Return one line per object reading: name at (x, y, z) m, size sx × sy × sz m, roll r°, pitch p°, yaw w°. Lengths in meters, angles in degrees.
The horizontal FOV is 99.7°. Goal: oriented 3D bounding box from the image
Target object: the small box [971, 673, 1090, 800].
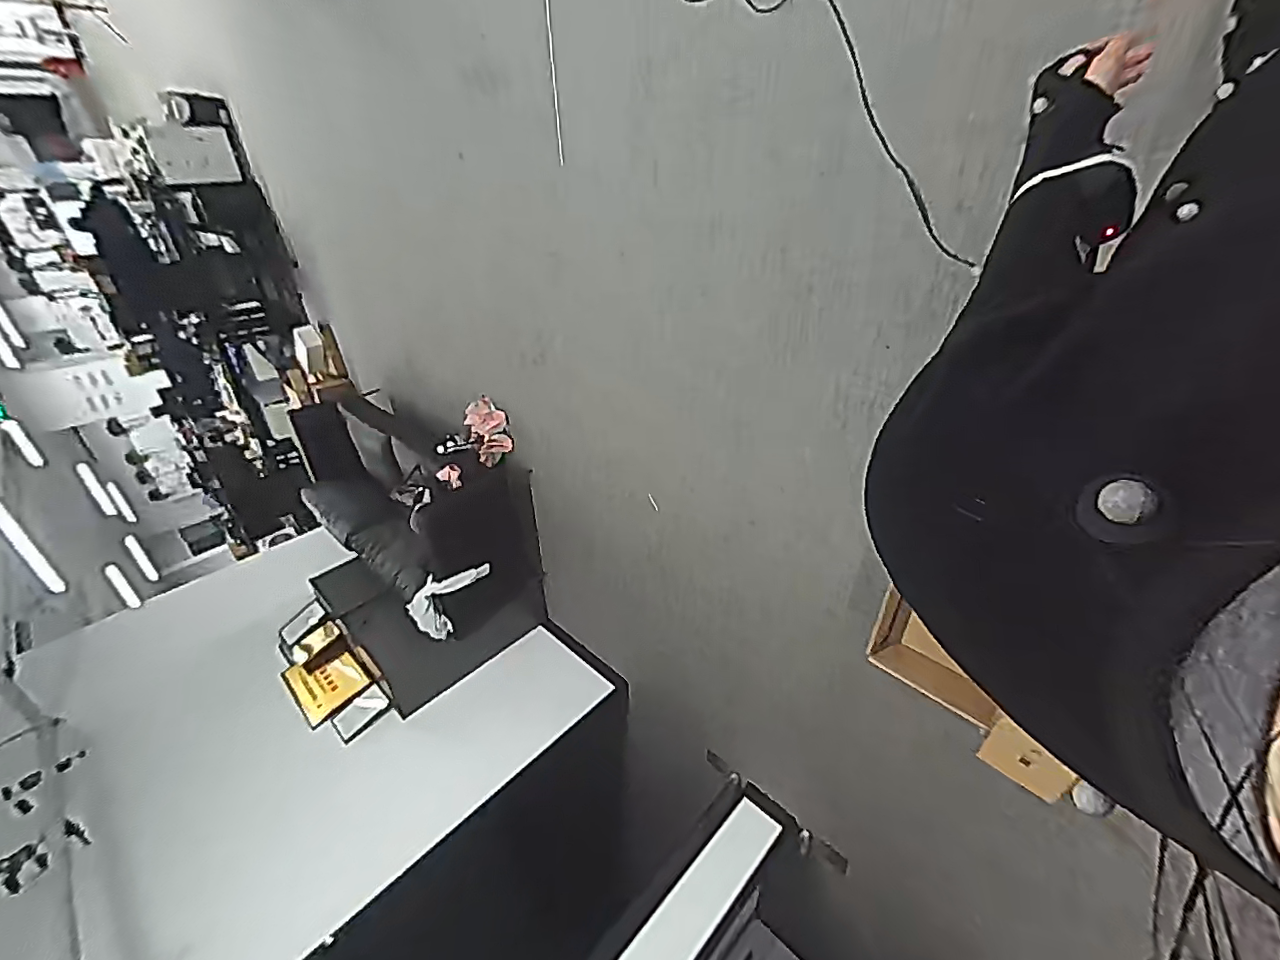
small box at (0.939, 0.609, 1.298) m, size 0.168 × 0.176 × 0.179 m, roll 30°, pitch 132°, yaw 34°
